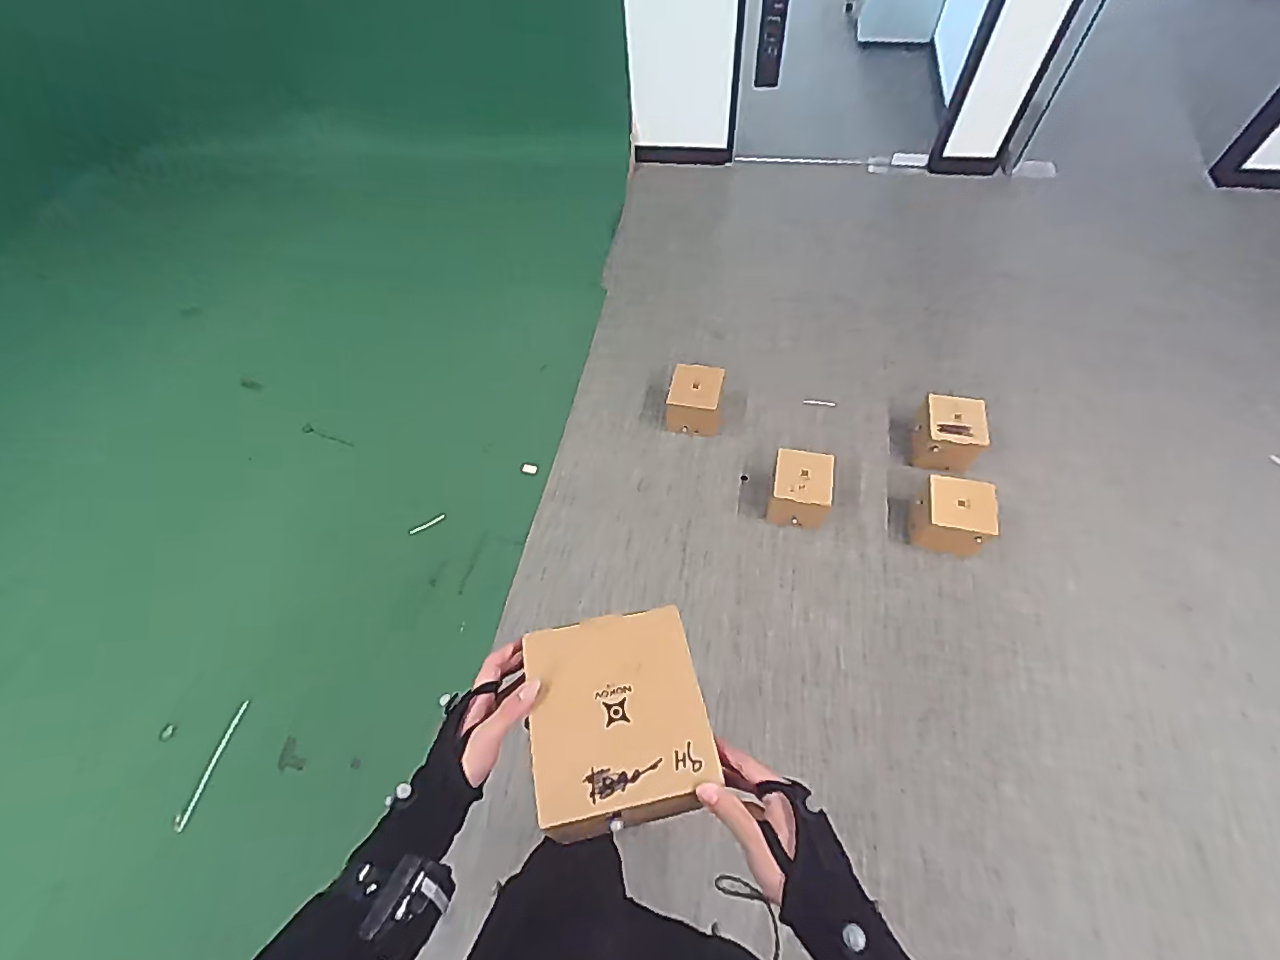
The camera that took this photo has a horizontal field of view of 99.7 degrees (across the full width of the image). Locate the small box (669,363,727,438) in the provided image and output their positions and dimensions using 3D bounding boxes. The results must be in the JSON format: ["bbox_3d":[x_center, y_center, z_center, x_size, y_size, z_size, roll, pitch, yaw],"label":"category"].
[{"bbox_3d":[0.196,-0.269,1.836,0.168,0.176,0.179,10,62,11],"label":"small box"}]

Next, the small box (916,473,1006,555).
[{"bbox_3d":[0.915,0.101,1.559,0.179,0.176,0.168,10,61,9],"label":"small box"}]

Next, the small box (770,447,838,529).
[{"bbox_3d":[0.493,0.027,1.636,0.168,0.176,0.179,9,61,10],"label":"small box"}]
